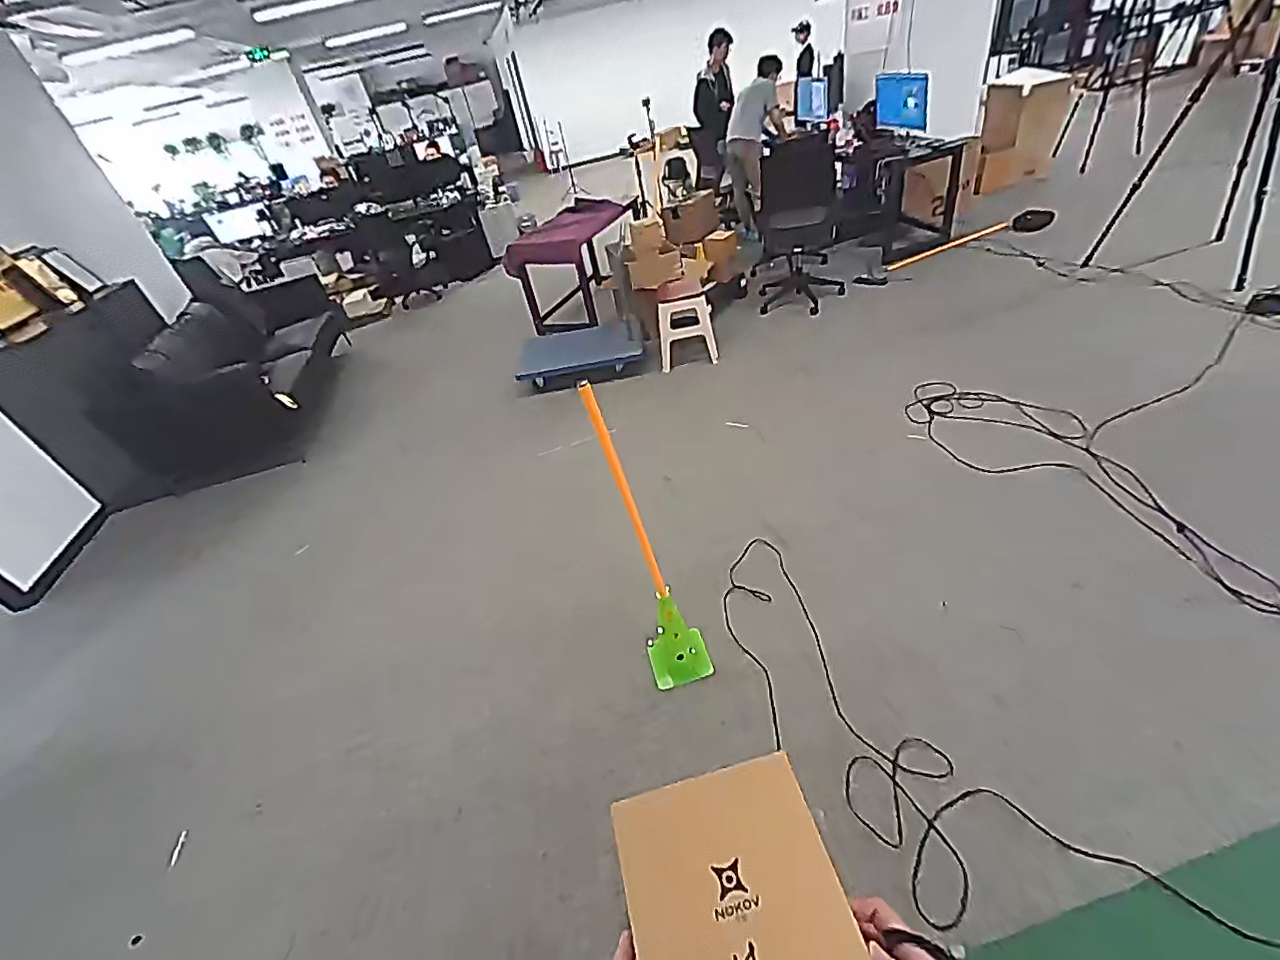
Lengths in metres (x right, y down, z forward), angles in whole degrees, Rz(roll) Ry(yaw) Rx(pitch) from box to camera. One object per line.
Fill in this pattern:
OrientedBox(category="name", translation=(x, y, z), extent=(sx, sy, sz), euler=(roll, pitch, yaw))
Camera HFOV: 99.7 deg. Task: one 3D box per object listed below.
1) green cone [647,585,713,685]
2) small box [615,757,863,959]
OrientedBox(category="green cone", translation=(0.110, 0.487, 1.805), extent=(0.202, 0.368, 0.200), euler=(-15, 38, -4))
OrientedBox(category="small box", translation=(0.082, 0.385, 0.483), extent=(0.168, 0.176, 0.179), euler=(-15, 44, -3))
